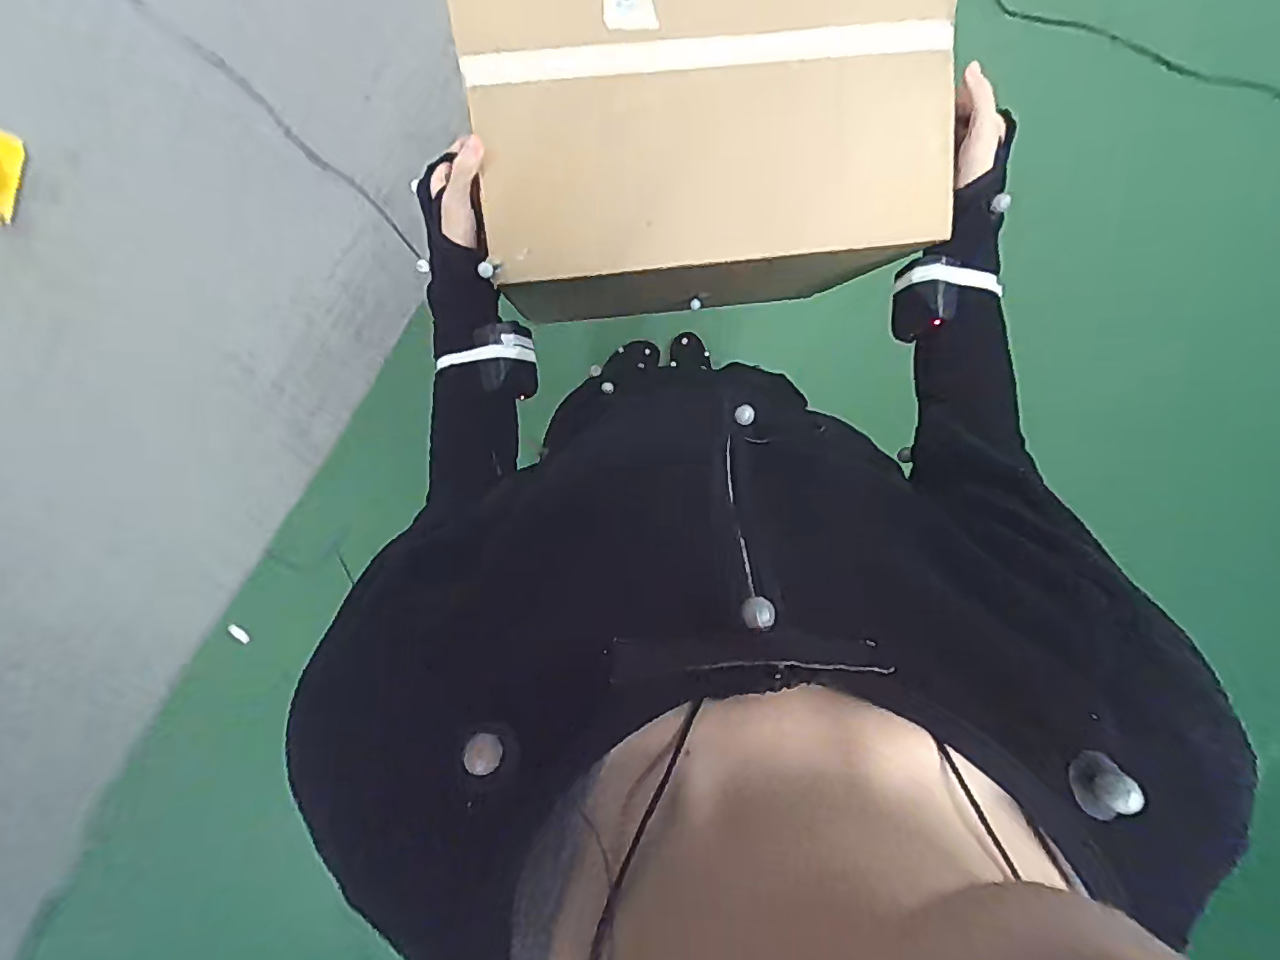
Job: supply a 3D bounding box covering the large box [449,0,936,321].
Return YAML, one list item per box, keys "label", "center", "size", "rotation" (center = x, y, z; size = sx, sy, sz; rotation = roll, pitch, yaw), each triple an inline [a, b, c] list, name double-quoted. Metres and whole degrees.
- label: "large box"
  center: [0.043, -0.371, 0.597]
  size: [0.408, 0.320, 0.320]
  rotation: [-8, 100, -3]
